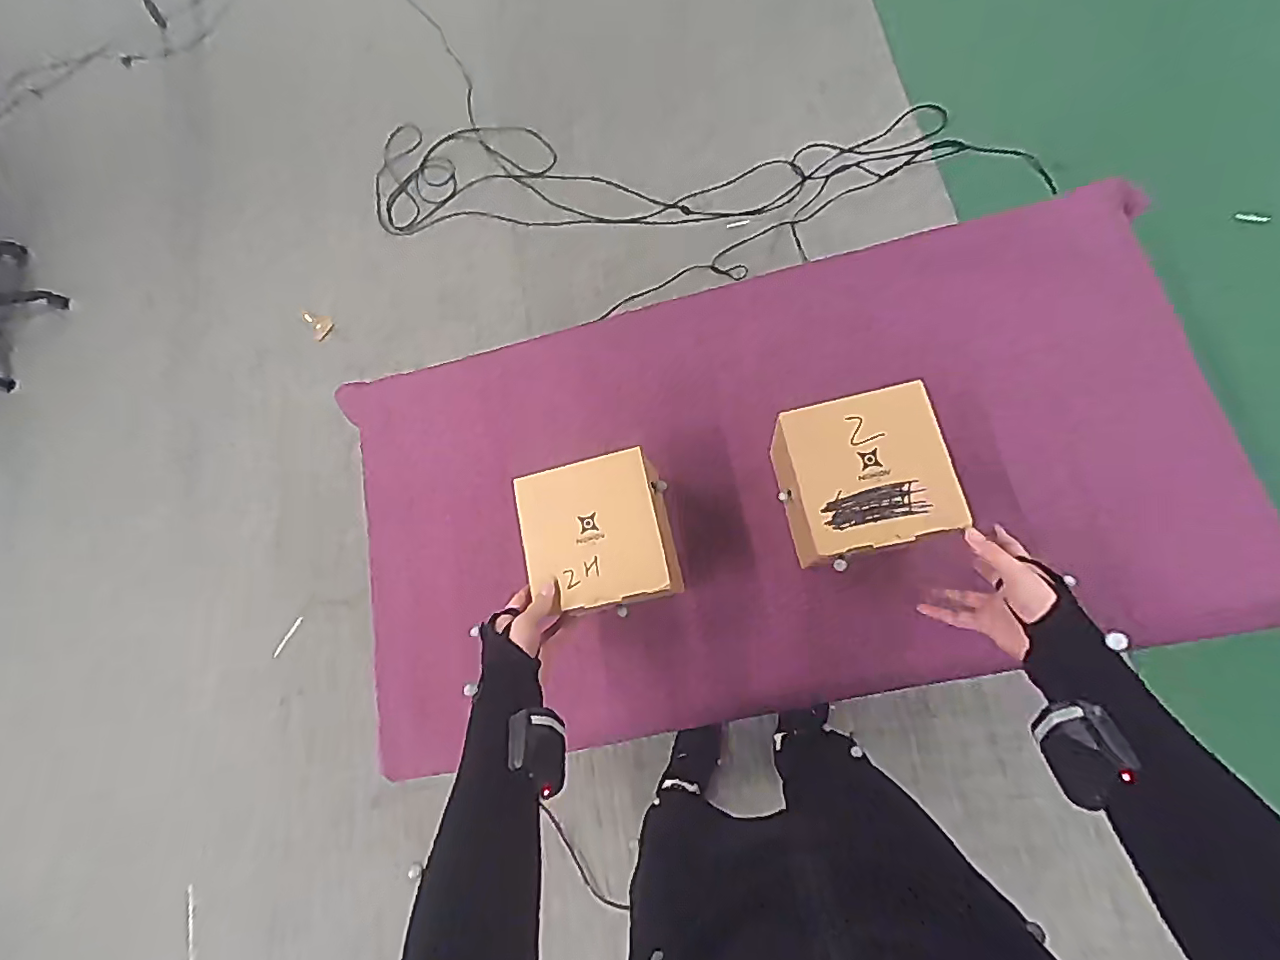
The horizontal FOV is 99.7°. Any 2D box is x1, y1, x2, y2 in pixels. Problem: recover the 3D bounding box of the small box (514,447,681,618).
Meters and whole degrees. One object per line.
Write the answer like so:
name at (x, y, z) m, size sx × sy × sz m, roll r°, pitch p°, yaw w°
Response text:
small box at (-0.048, 0.078, 0.708) m, size 0.168 × 0.176 × 0.179 m, roll -14°, pitch 75°, yaw 6°
